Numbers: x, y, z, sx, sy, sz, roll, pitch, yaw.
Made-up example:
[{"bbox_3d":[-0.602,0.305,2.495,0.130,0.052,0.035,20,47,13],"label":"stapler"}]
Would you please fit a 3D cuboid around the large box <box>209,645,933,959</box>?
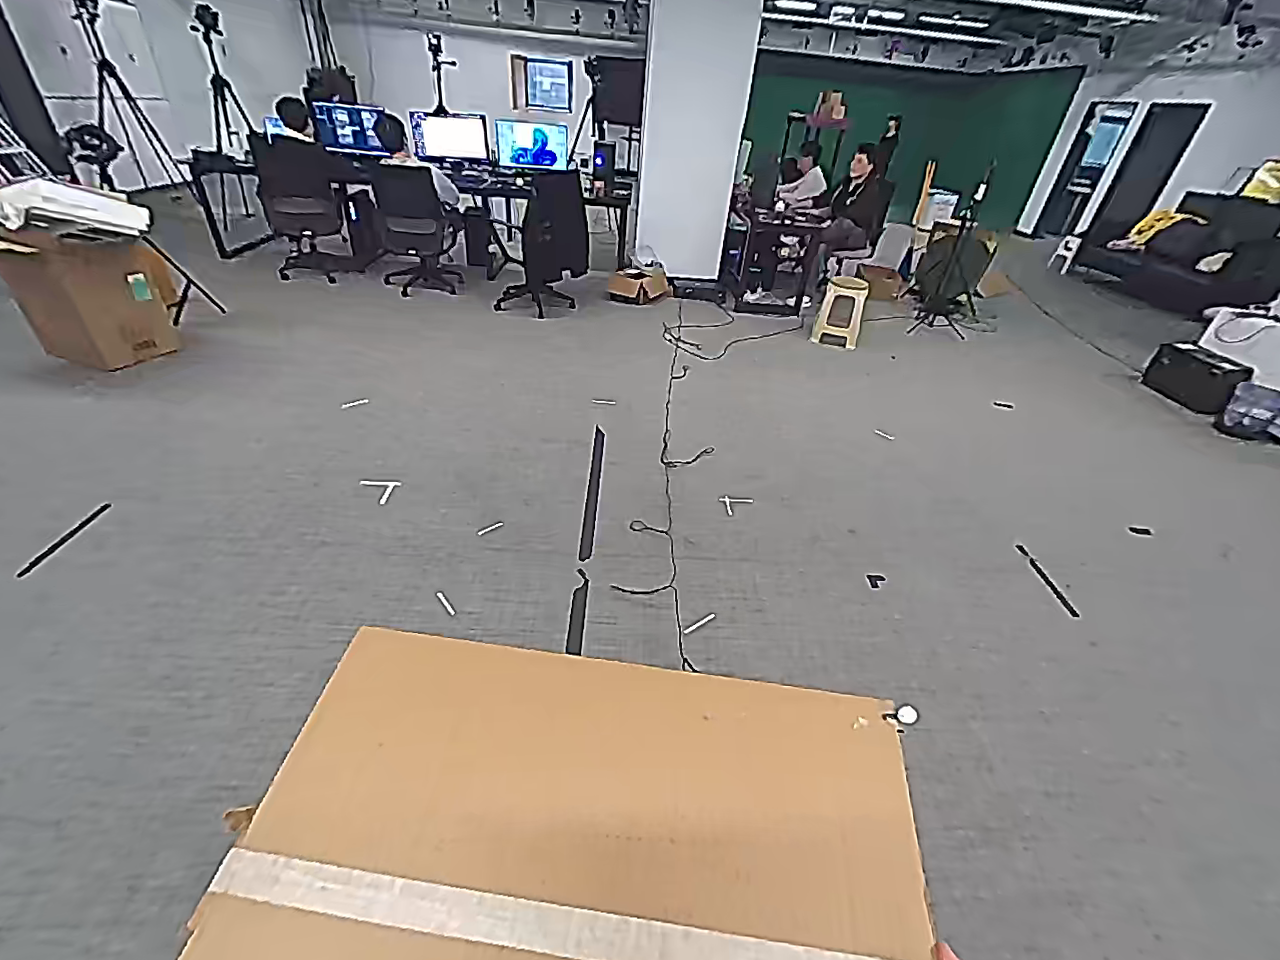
[{"bbox_3d":[-0.040,0.360,0.415,0.408,0.320,0.320,7,48,4],"label":"large box"}]
